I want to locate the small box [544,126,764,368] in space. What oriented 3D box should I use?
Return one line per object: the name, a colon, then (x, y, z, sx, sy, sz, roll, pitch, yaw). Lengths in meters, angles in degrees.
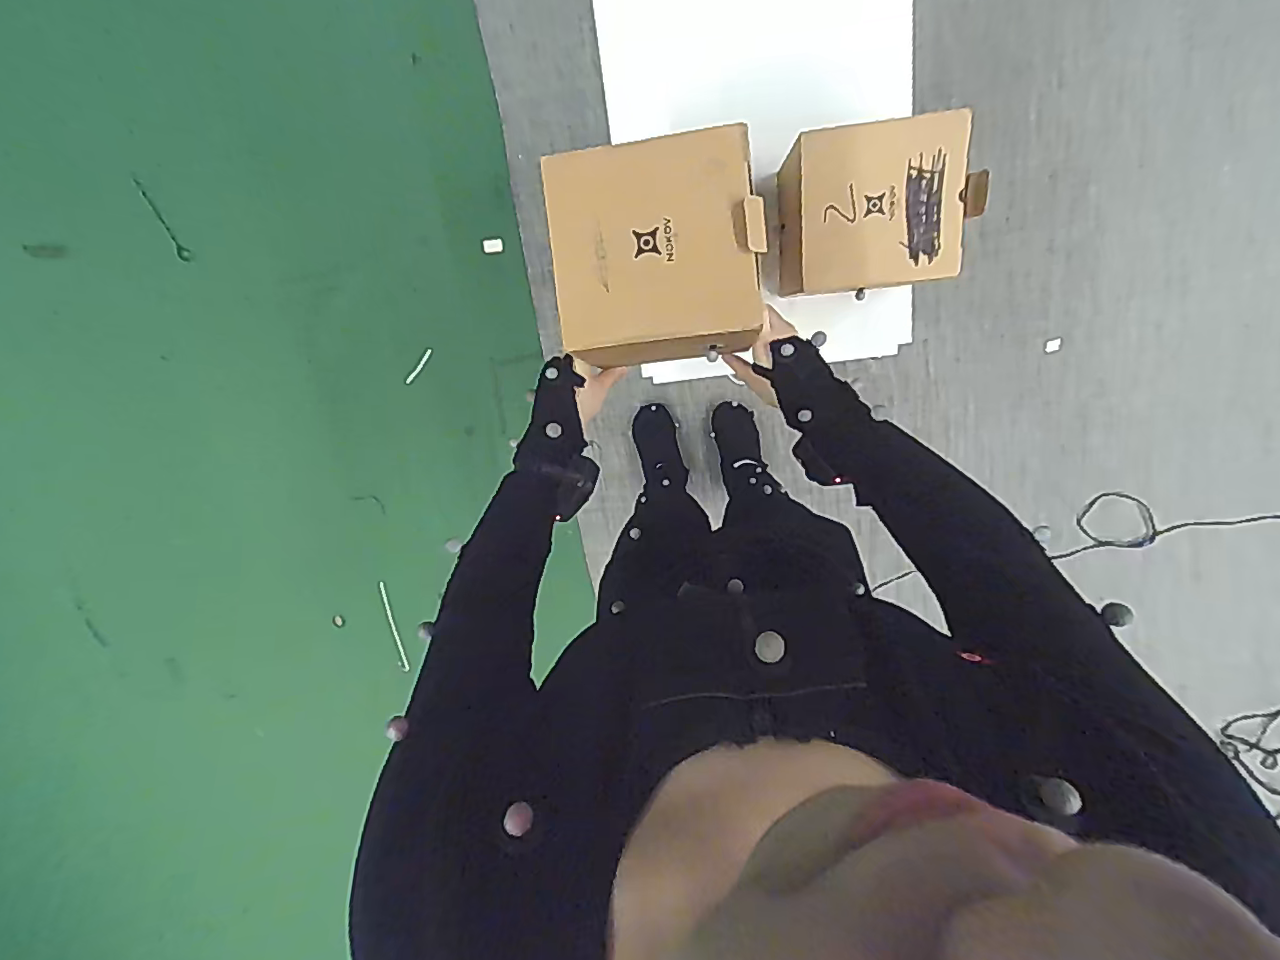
small box: (0.020, -0.208, 0.534, 0.179, 0.176, 0.168, -5, 95, 8)
